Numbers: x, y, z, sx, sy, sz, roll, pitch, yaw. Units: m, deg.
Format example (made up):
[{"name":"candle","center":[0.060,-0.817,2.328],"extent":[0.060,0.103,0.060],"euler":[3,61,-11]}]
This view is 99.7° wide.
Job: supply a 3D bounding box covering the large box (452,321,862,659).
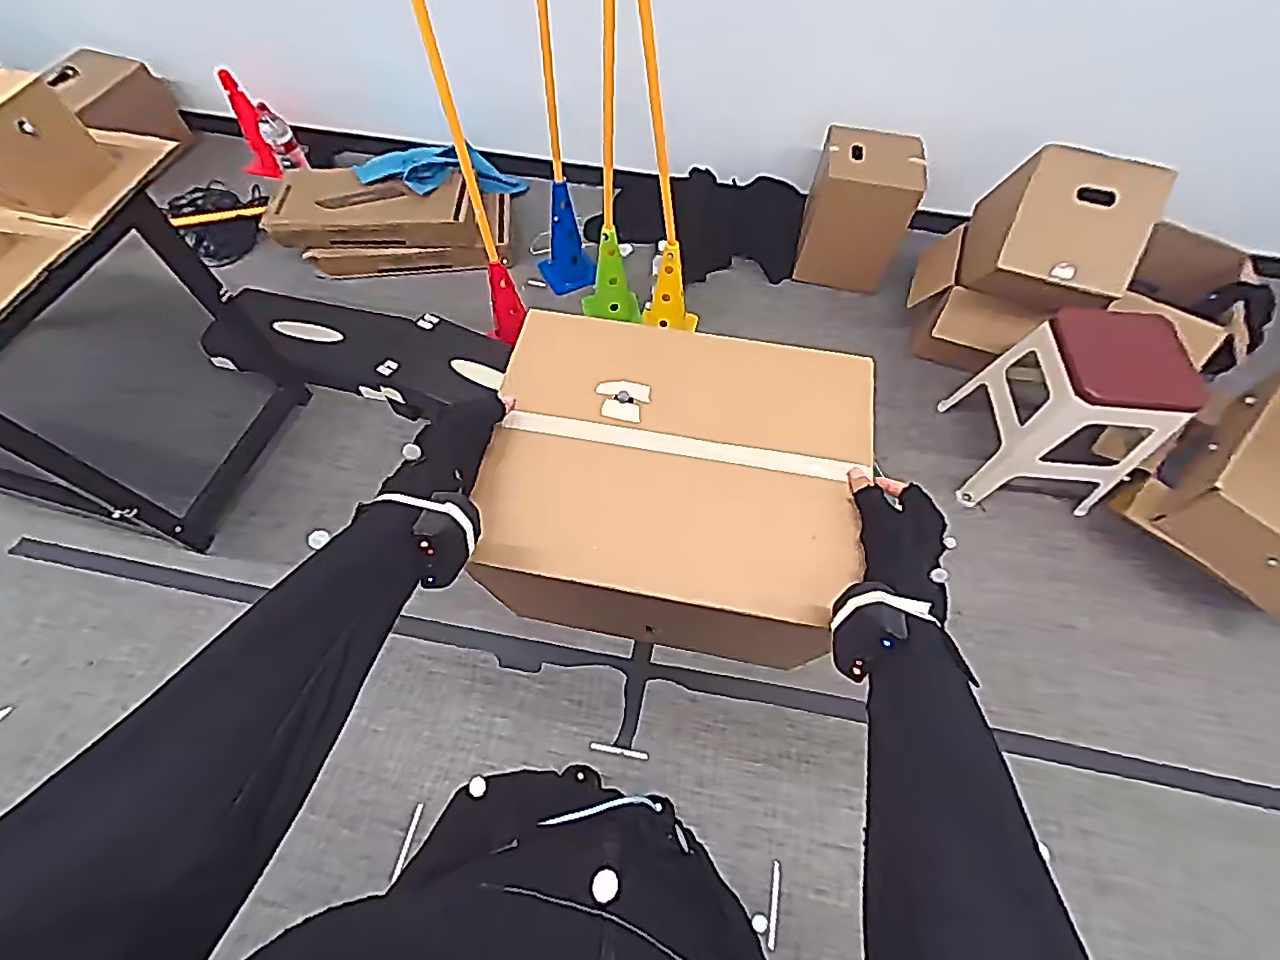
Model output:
[{"name":"large box","center":[0.039,0.033,0.714],"extent":[0.408,0.320,0.320],"euler":[10,65,6]}]
